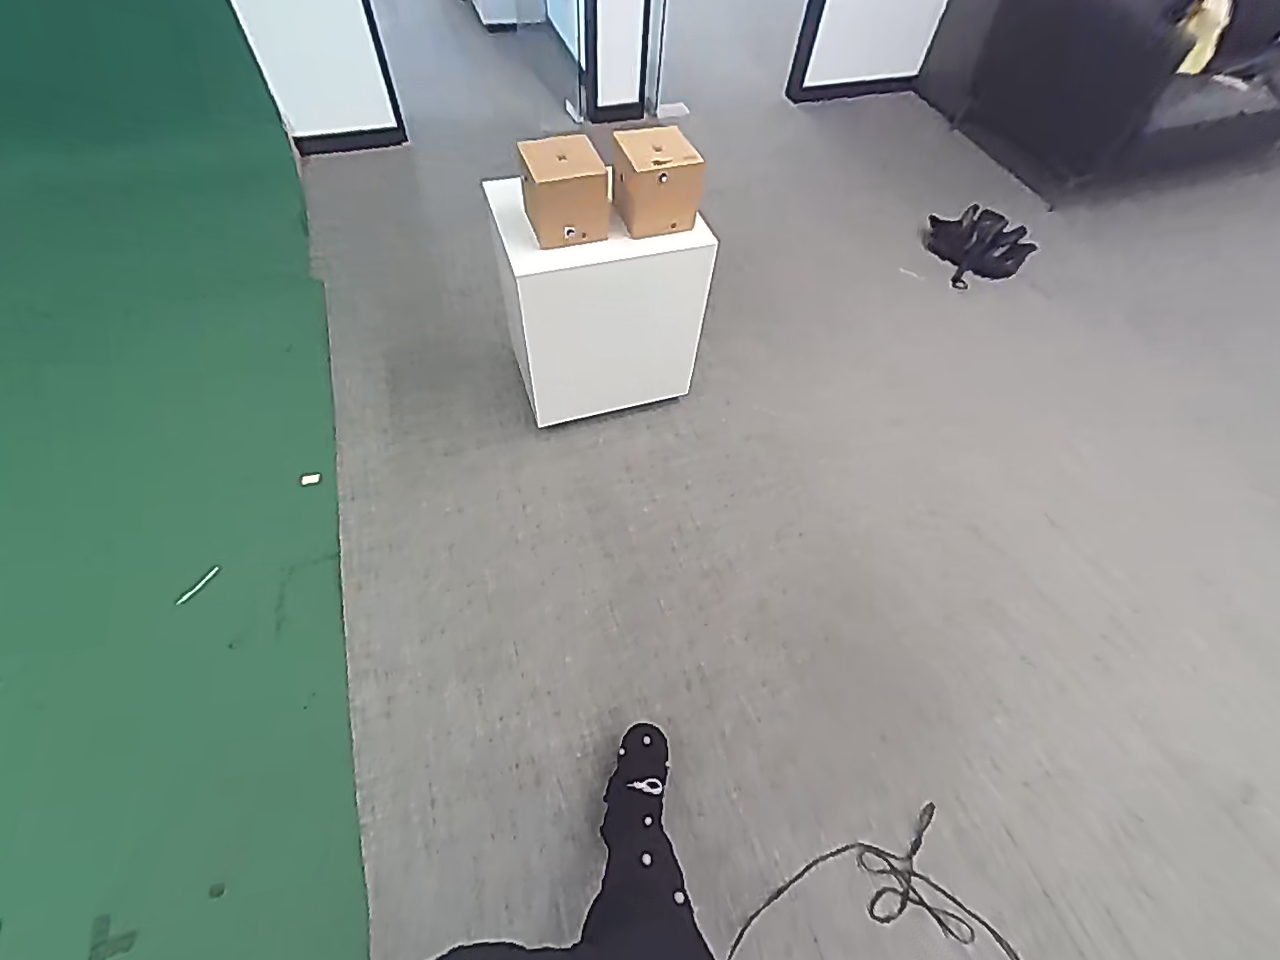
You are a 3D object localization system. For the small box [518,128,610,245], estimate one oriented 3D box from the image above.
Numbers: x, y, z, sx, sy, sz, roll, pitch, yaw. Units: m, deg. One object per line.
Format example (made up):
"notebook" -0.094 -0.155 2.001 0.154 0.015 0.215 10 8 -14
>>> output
"small box" -0.177 -0.680 1.257 0.168 0.176 0.179 -17 62 -13

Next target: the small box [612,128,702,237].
"small box" 0.033 -0.720 1.312 0.168 0.176 0.179 -15 59 -13
